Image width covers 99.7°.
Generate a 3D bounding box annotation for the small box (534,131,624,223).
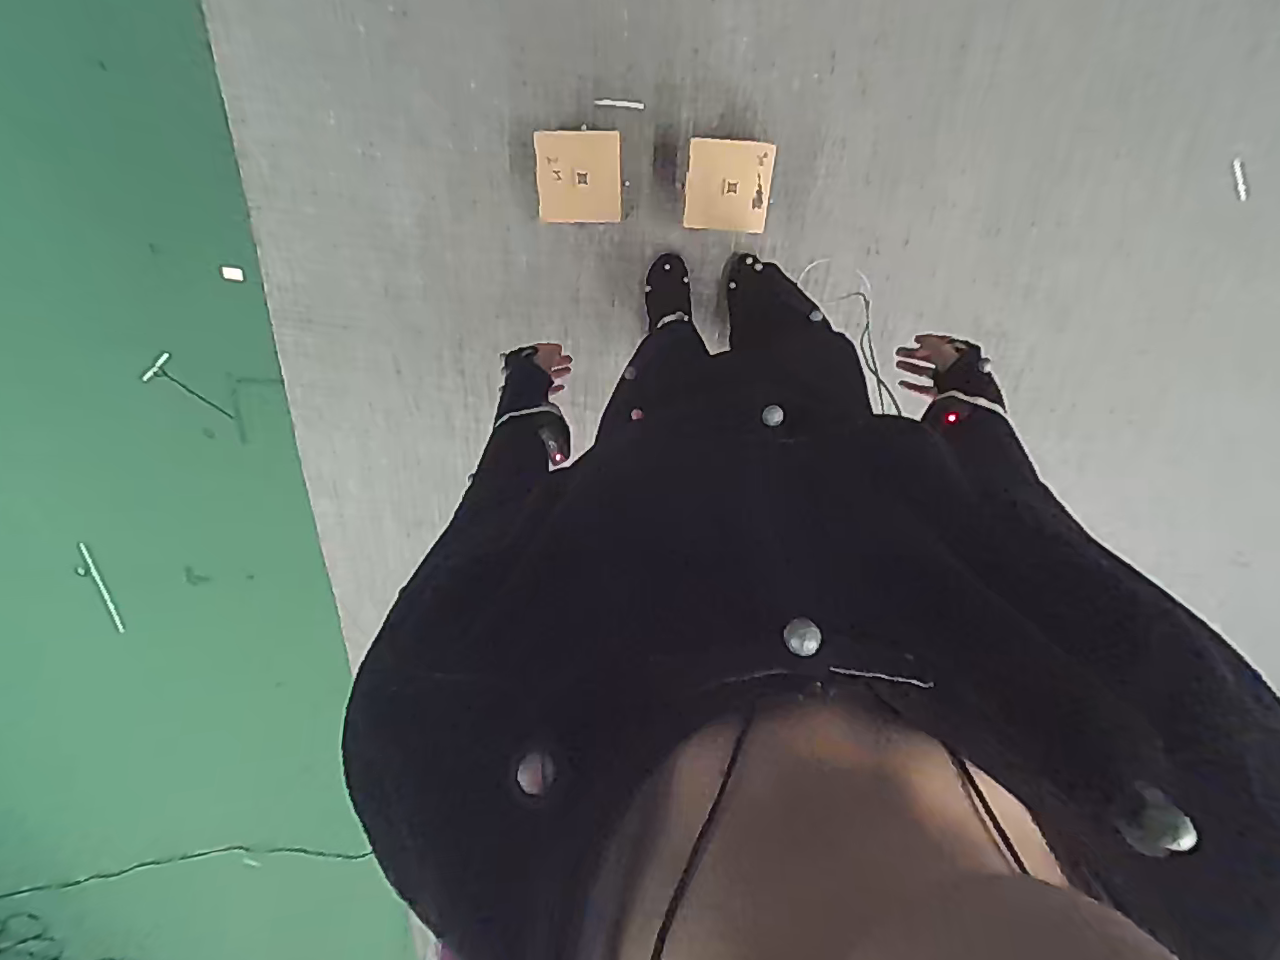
[{"bbox_3d":[-0.125,-0.658,1.184,0.179,0.176,0.168,2,116,2],"label":"small box"}]
